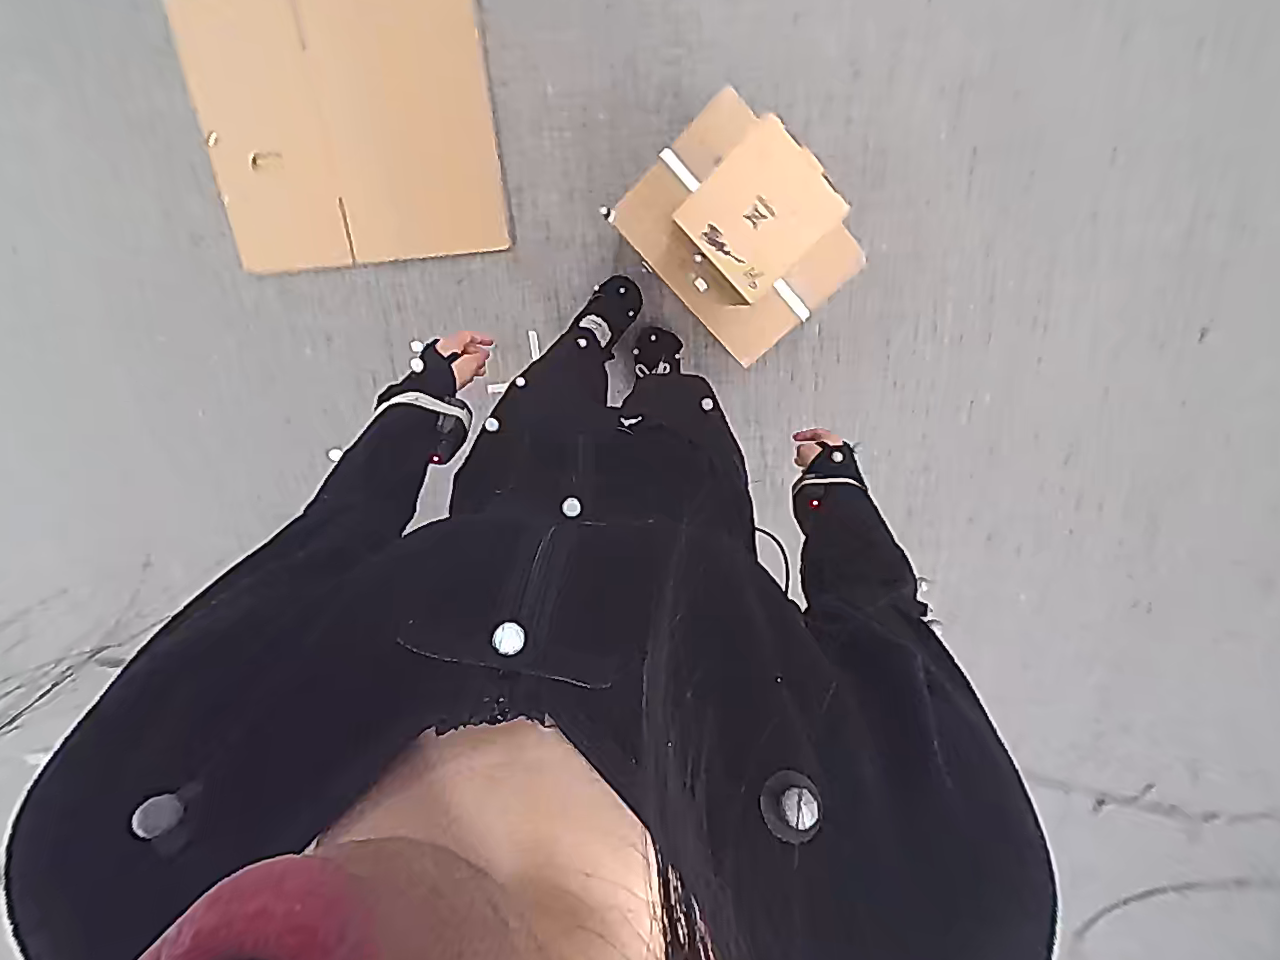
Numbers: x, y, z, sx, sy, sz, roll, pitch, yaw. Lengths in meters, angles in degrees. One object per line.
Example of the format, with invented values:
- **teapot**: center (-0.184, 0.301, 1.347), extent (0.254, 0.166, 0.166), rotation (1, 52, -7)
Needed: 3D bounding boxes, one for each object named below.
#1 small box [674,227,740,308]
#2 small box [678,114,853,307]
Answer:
- **small box**: center (0.172, -0.425, 0.947), extent (0.179, 0.176, 0.168), rotation (-43, 101, 15)
- **small box**: center (0.167, -0.375, 0.790), extent (0.179, 0.176, 0.168), rotation (-43, 101, 14)
